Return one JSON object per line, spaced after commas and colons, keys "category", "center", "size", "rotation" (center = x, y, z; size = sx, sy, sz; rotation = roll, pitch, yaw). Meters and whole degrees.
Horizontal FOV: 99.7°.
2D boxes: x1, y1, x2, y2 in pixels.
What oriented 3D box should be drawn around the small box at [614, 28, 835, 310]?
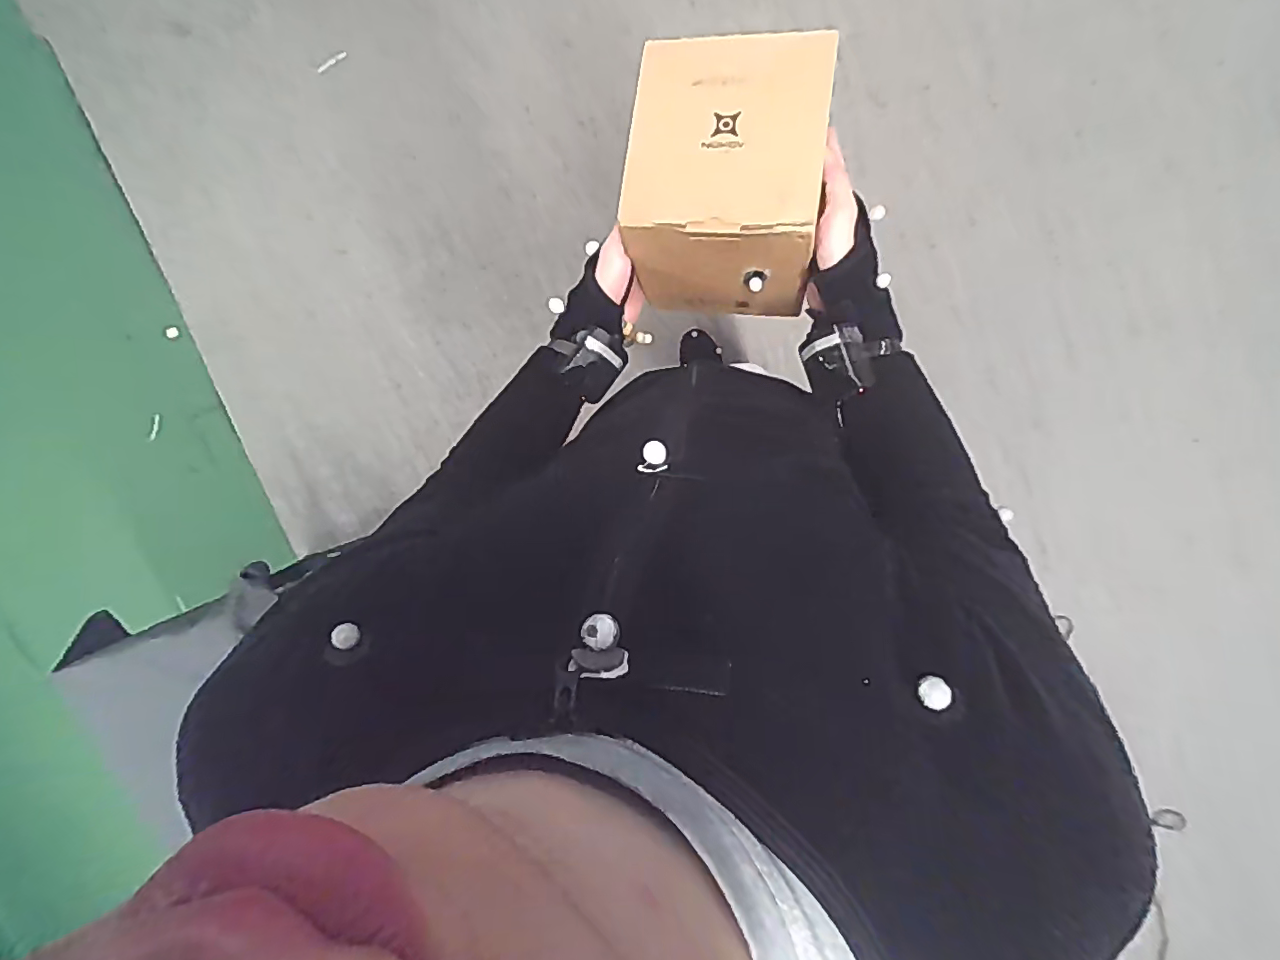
{"category": "small box", "center": [0.083, -0.283, 0.526], "size": [0.168, 0.176, 0.179], "rotation": [7, 82, 11]}
